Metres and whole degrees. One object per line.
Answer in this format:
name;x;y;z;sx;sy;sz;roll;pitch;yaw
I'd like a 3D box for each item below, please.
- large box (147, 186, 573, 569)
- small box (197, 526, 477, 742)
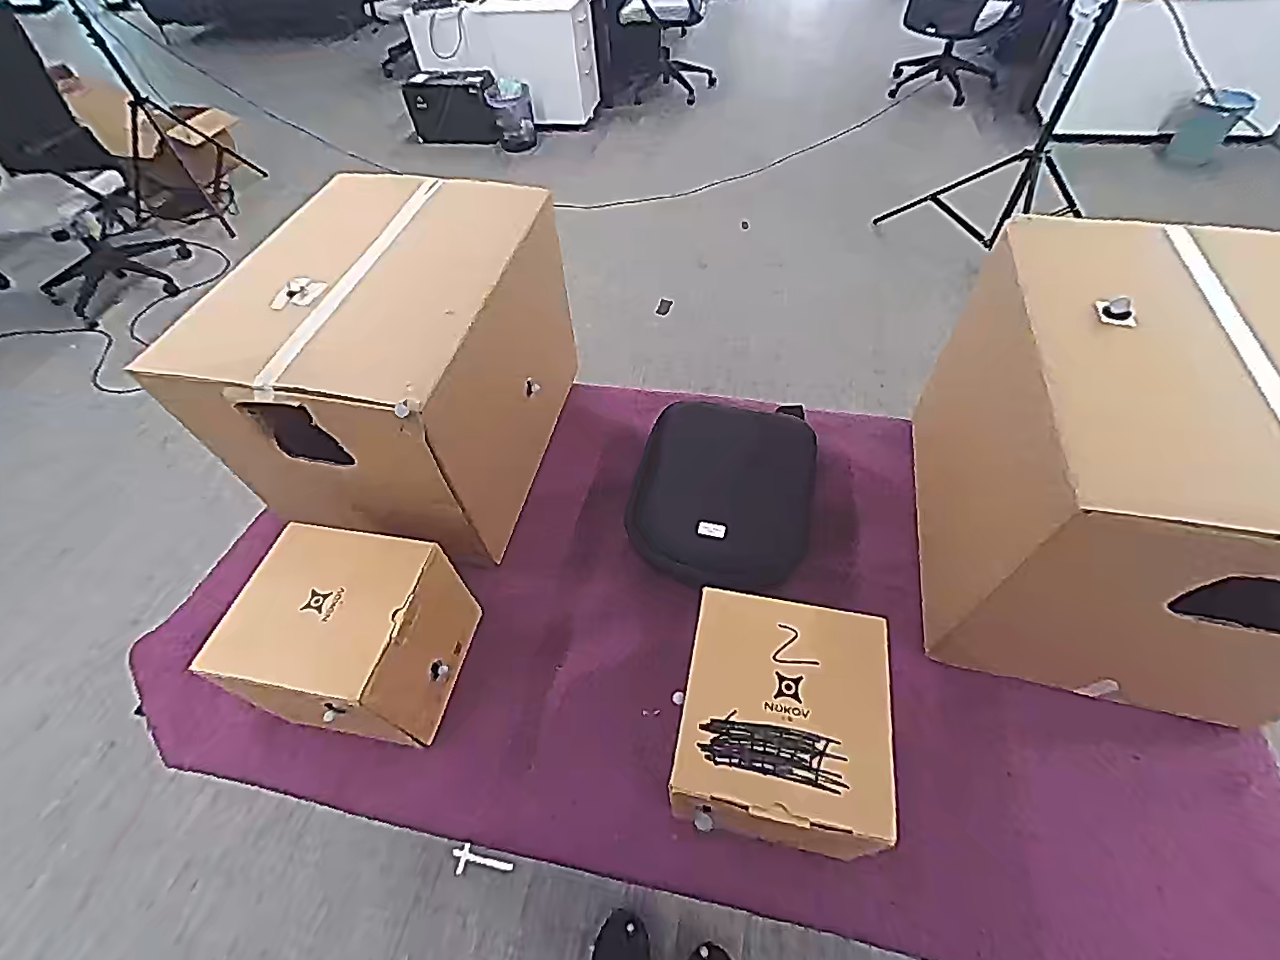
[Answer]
large box;-0.300;-0.142;0.744;0.320;0.320;0.408;7;56;8
small box;-0.306;0.172;0.593;0.179;0.176;0.168;6;52;8
